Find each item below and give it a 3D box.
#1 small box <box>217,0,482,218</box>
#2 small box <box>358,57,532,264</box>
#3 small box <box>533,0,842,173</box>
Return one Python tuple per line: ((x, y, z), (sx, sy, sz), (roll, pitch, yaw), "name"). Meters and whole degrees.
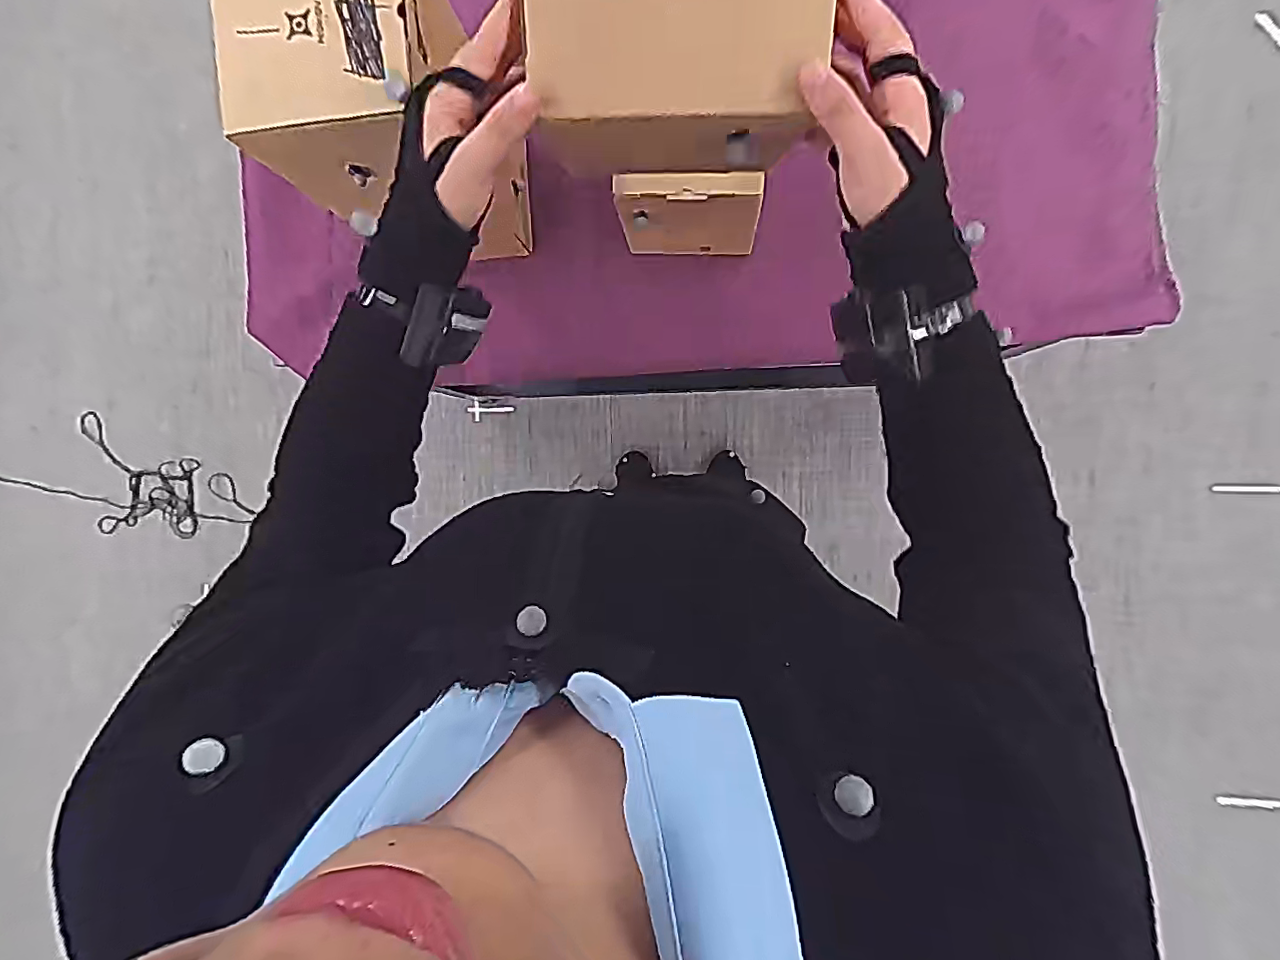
((-0.267, -0.383, 0.536), (0.179, 0.176, 0.168), (-3, 91, 6), "small box")
((-0.253, -0.394, 0.700), (0.179, 0.176, 0.168), (-3, 92, 5), "small box")
((0.028, -0.322, 0.370), (0.179, 0.176, 0.168), (1, 108, 2), "small box")
